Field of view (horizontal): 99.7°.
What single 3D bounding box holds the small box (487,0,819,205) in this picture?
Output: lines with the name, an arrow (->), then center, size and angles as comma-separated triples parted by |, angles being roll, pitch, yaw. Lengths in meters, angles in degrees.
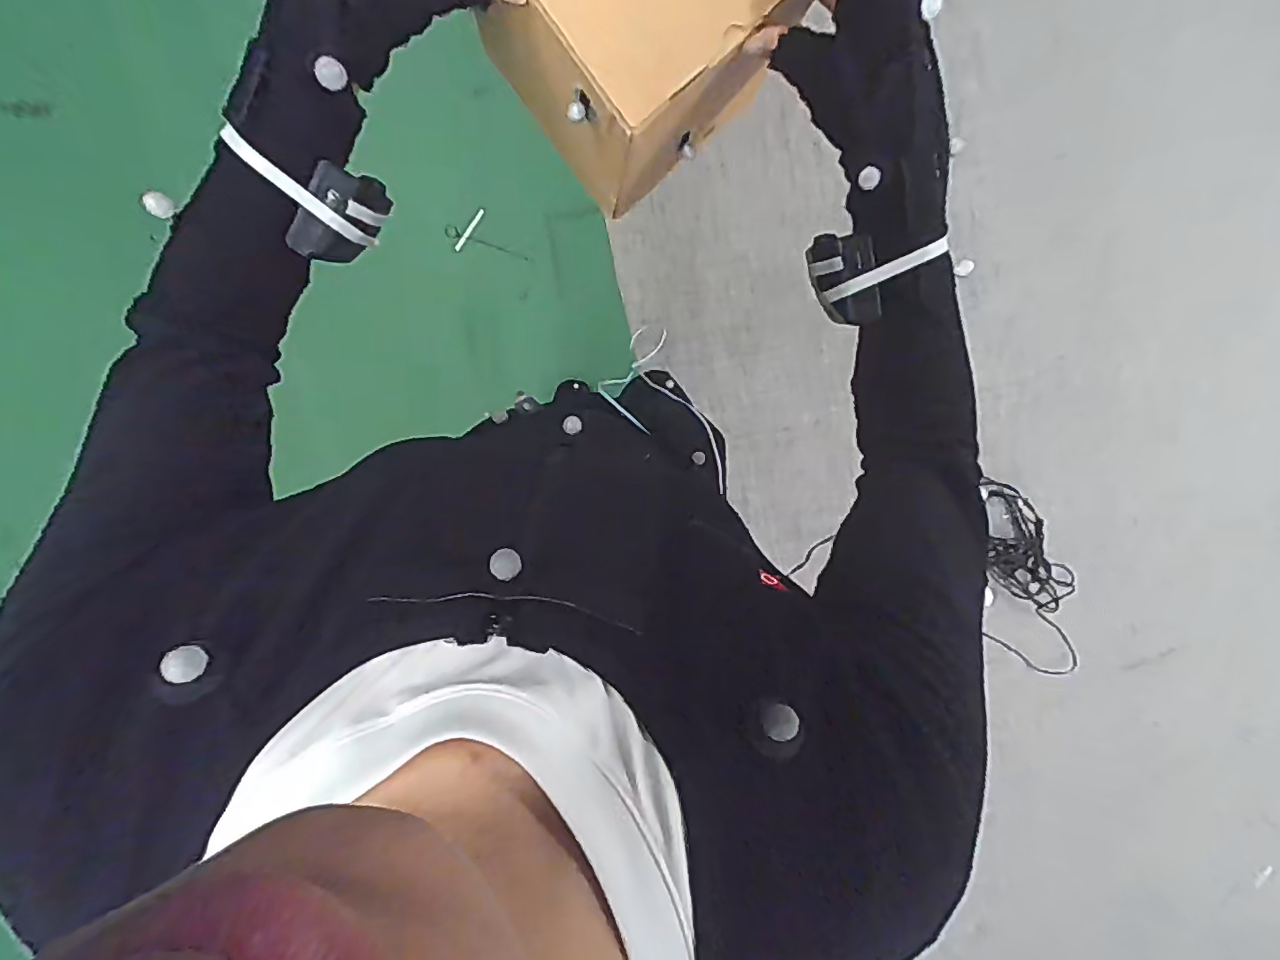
small box -> -0.002, -0.343, 0.393 | 0.168, 0.176, 0.179 | -40, 102, 1
